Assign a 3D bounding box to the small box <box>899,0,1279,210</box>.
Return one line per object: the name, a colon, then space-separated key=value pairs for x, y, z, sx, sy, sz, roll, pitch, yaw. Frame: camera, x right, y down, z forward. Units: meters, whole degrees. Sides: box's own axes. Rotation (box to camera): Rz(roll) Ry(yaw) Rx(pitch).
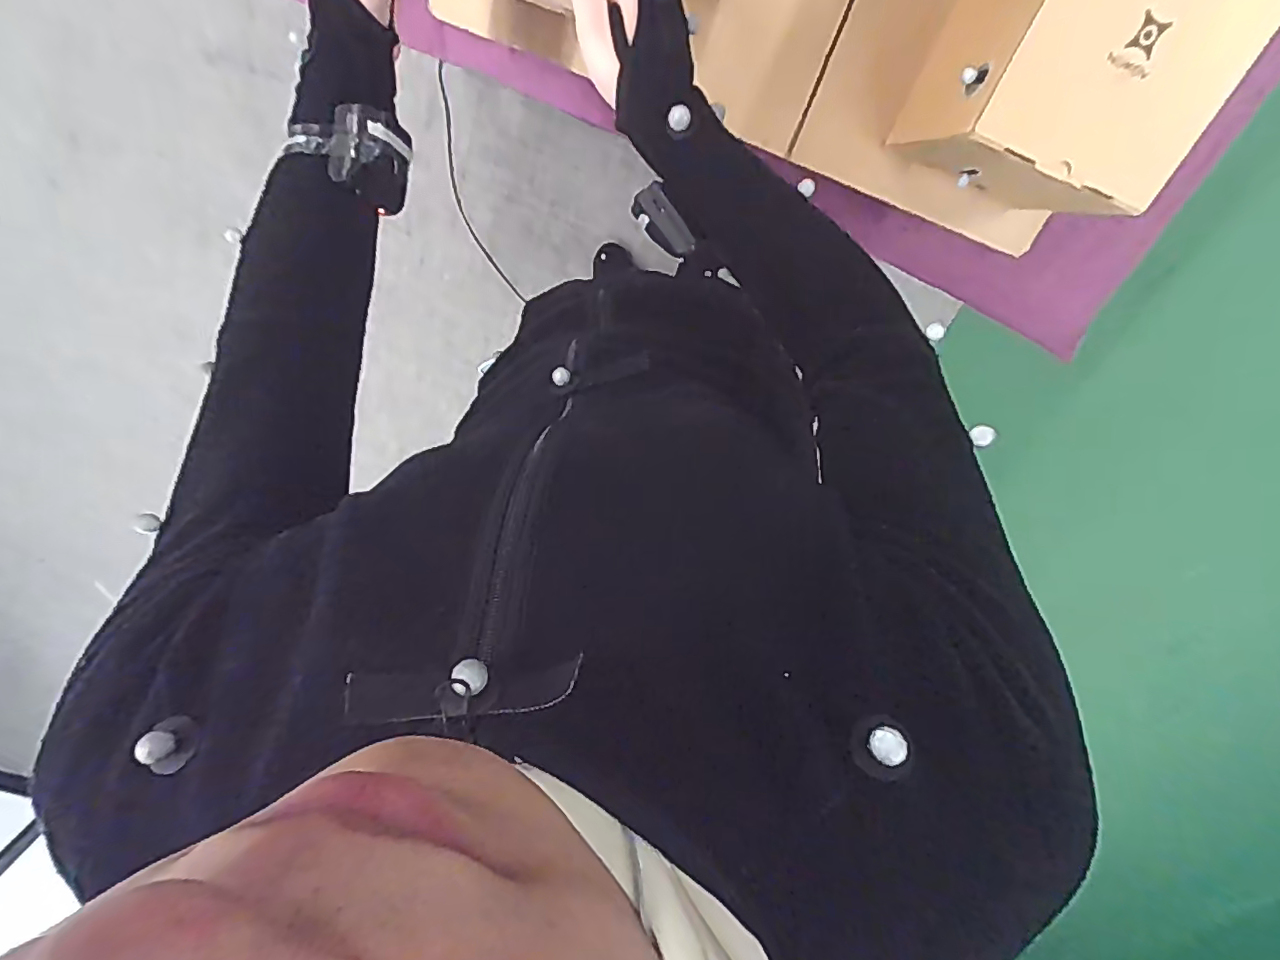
small box: x=0.351 y=-0.347 z=0.443 sx=0.168 sy=0.176 sz=0.179 roll=17 pitch=119 yaw=-10
